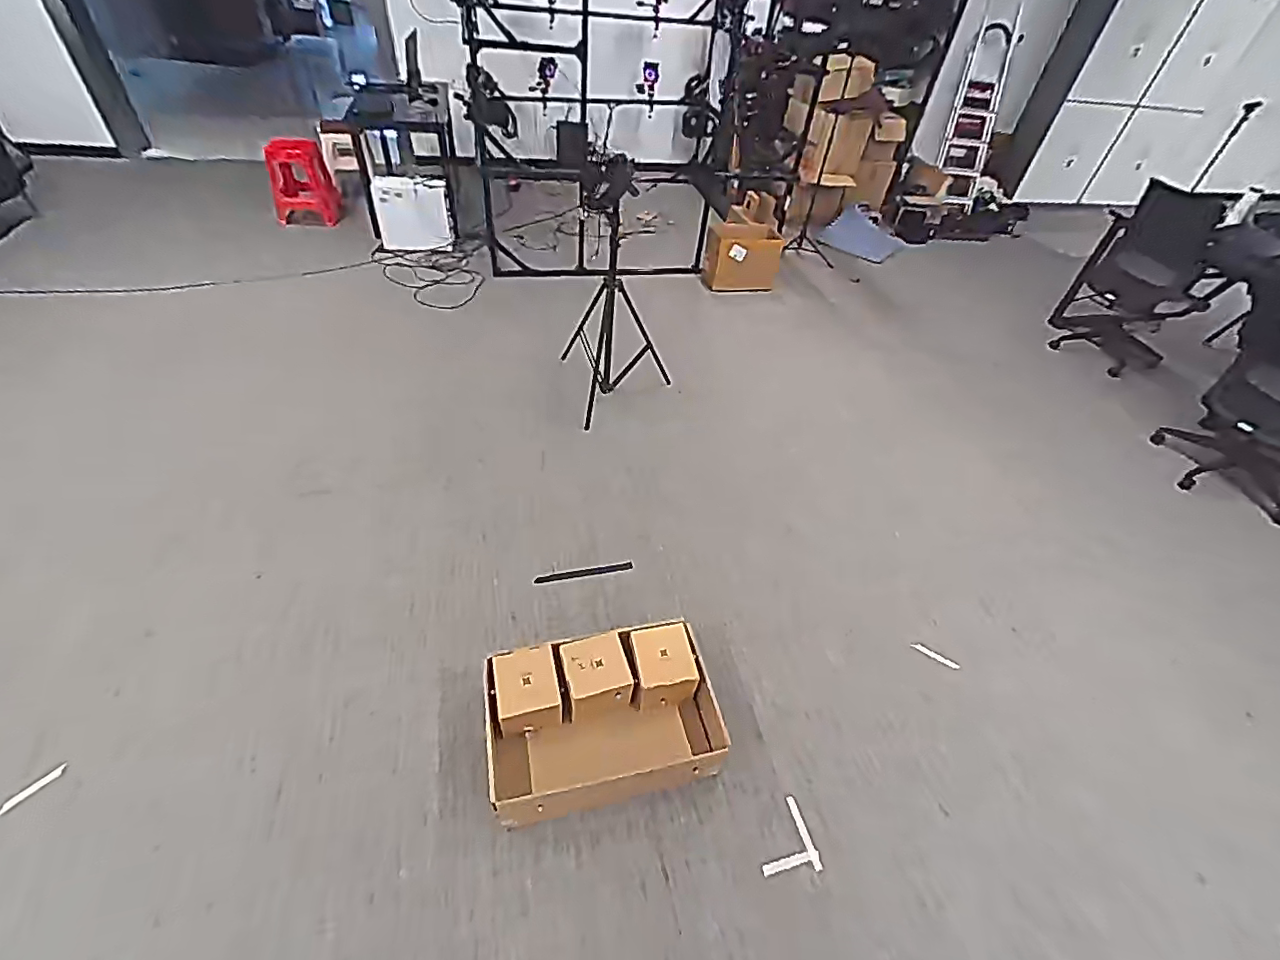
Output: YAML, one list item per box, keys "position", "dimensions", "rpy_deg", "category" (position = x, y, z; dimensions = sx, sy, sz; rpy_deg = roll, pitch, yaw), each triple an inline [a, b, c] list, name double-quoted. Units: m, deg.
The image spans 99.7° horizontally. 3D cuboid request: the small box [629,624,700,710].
- position: [0.066, 0.557, 1.607]
  dimensions: [0.168, 0.176, 0.179]
  rpy_deg: [-7, 49, -12]
  category: "small box"
